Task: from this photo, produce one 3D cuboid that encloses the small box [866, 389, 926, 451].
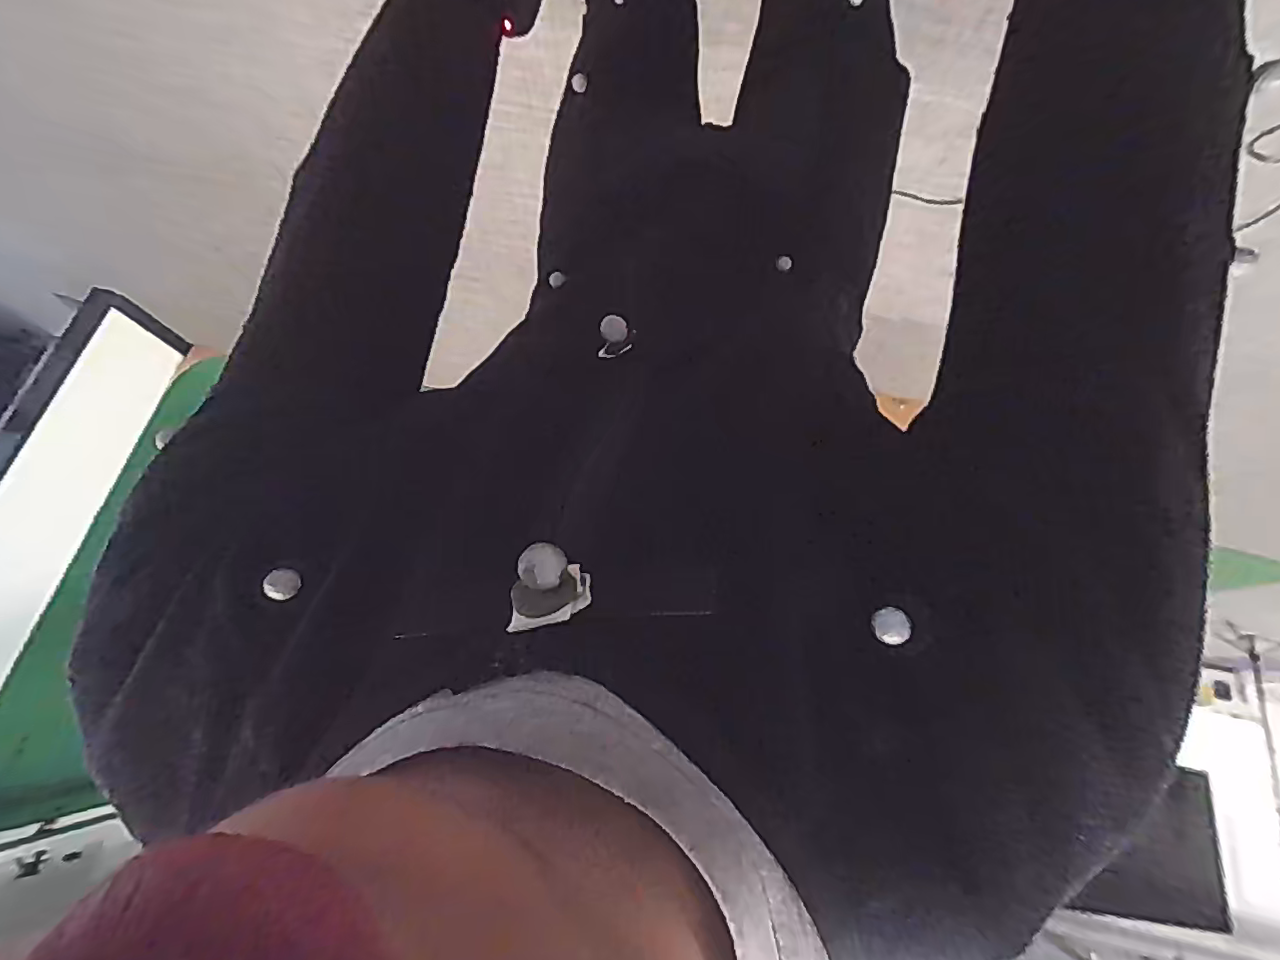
[{"bbox_3d":[1.009,-0.236,2.129,0.168,0.176,0.179,10,160,5],"label":"small box"}]
